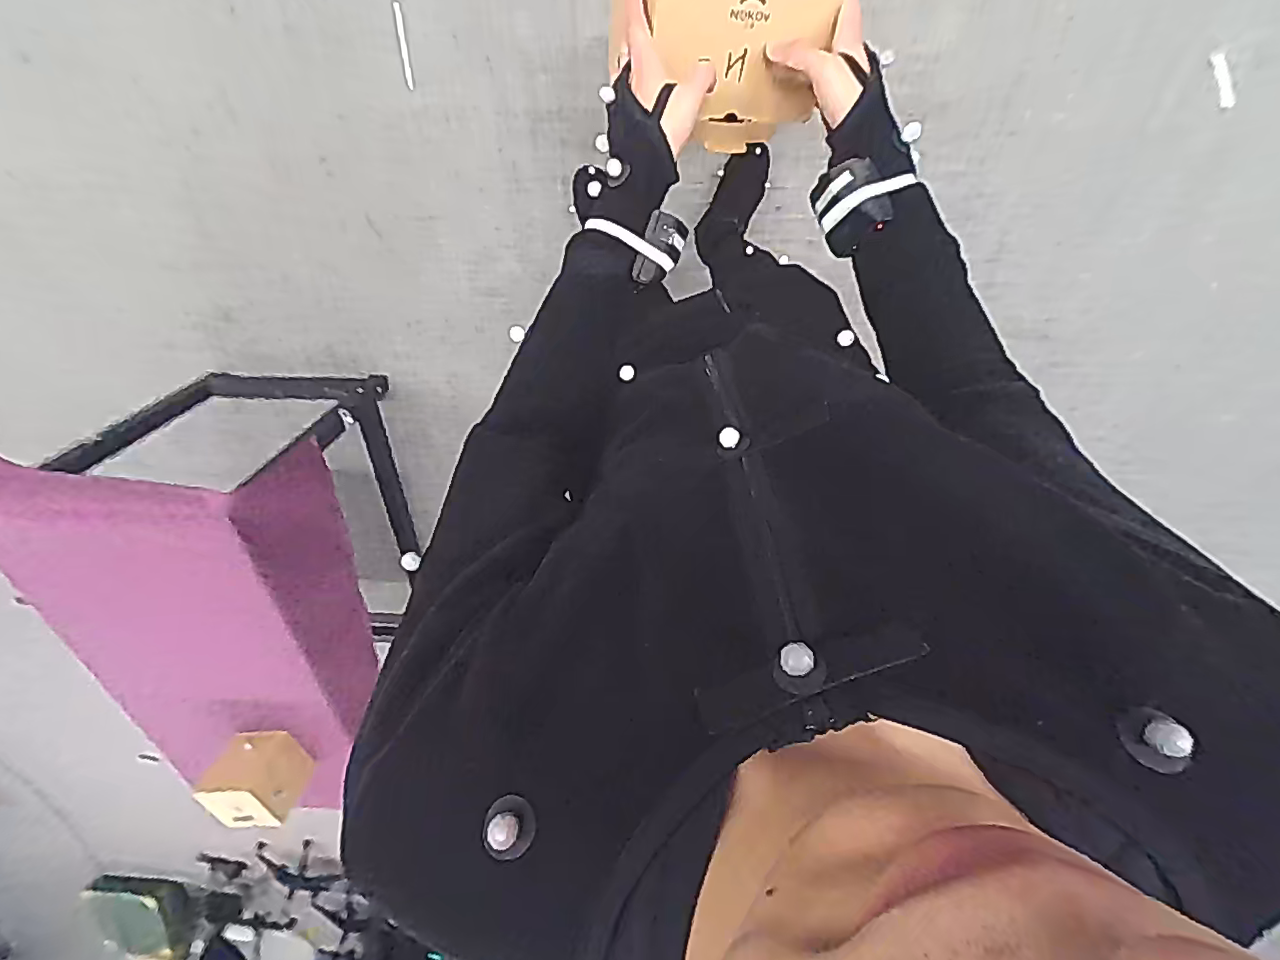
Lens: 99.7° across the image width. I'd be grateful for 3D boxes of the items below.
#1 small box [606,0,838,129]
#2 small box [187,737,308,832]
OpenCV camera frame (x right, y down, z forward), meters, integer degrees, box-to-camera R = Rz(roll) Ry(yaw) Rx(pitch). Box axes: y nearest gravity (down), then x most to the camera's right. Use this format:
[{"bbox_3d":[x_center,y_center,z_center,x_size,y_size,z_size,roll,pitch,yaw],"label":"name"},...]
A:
[{"bbox_3d":[0.067,-0.448,0.494,0.168,0.176,0.179,-7,139,-13],"label":"small box"},{"bbox_3d":[-1.047,0.822,1.463,0.168,0.176,0.179,-7,122,7],"label":"small box"}]
